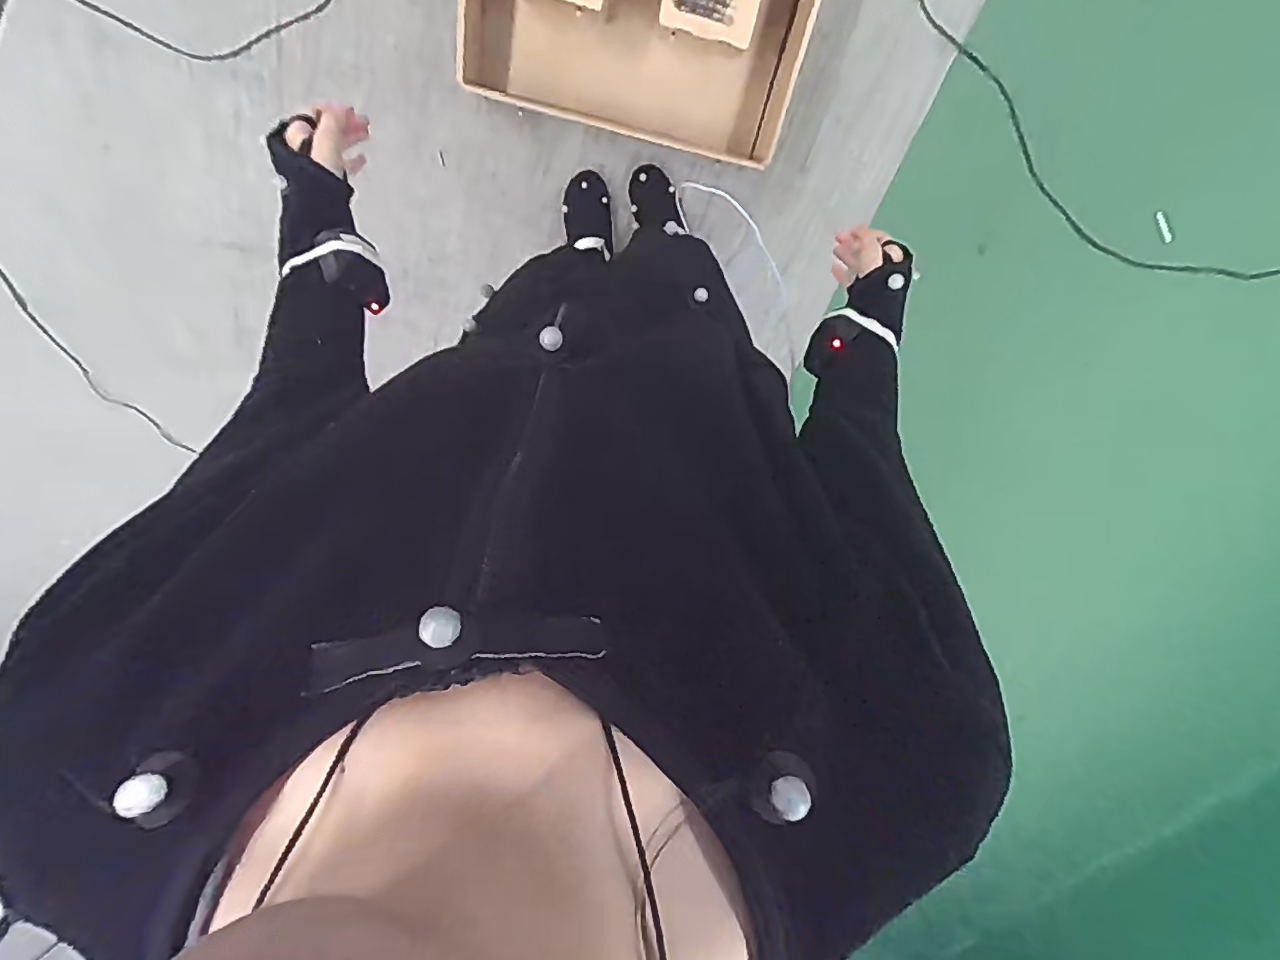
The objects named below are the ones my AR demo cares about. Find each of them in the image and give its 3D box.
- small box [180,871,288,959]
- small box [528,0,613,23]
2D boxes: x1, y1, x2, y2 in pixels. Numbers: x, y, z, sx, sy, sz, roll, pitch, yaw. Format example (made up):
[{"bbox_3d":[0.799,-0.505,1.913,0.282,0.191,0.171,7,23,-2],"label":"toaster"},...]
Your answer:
[{"bbox_3d":[-1.102,1.213,1.486,0.168,0.176,0.179,9,121,-7],"label":"small box"},{"bbox_3d":[-0.125,-0.926,0.936,0.179,0.176,0.168,11,123,-9],"label":"small box"}]
